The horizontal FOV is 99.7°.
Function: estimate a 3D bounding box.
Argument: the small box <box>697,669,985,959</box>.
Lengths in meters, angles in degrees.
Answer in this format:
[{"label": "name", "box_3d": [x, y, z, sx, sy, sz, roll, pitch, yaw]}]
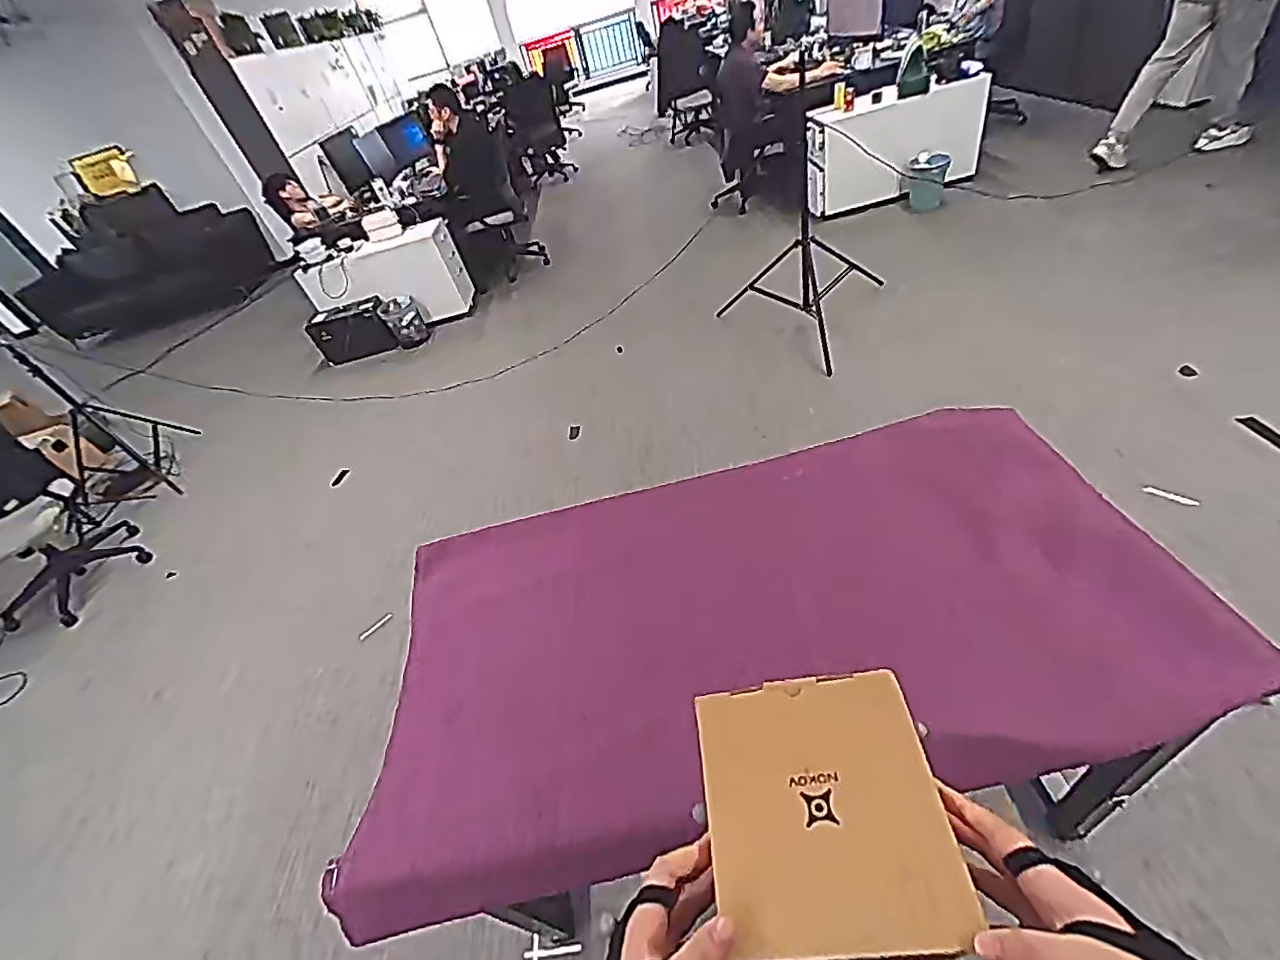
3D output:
[{"label": "small box", "box_3d": [0.151, 0.286, 0.450, 0.168, 0.176, 0.179, -12, 44, 10]}]
